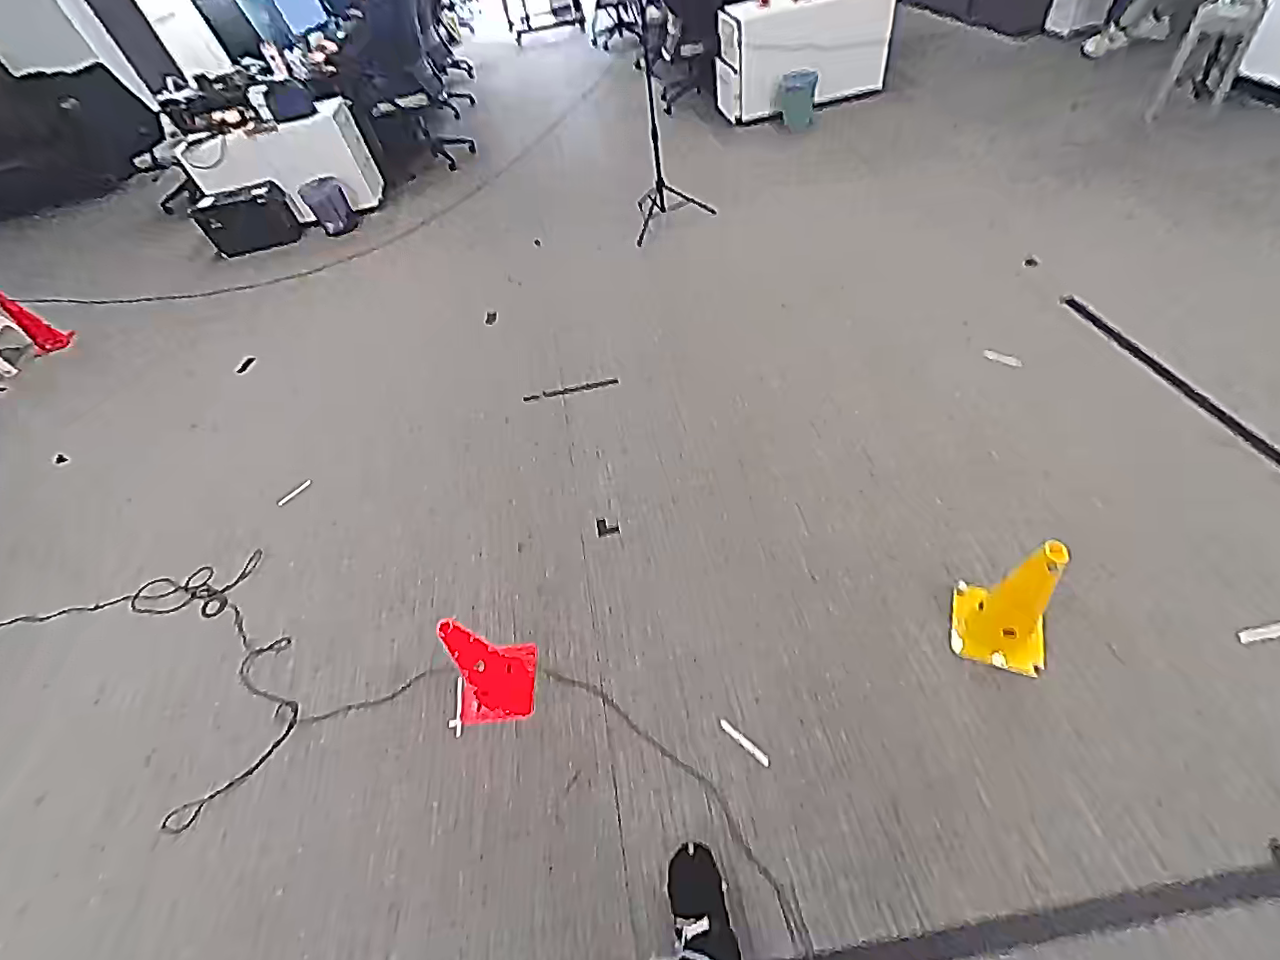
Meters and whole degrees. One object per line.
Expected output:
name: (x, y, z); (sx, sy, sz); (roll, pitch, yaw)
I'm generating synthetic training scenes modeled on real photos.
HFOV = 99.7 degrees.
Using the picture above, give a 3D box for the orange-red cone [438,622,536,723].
orange-red cone: (-0.407, 0.445, 1.338); (0.199, 0.360, 0.198); (-6, 50, 4)
